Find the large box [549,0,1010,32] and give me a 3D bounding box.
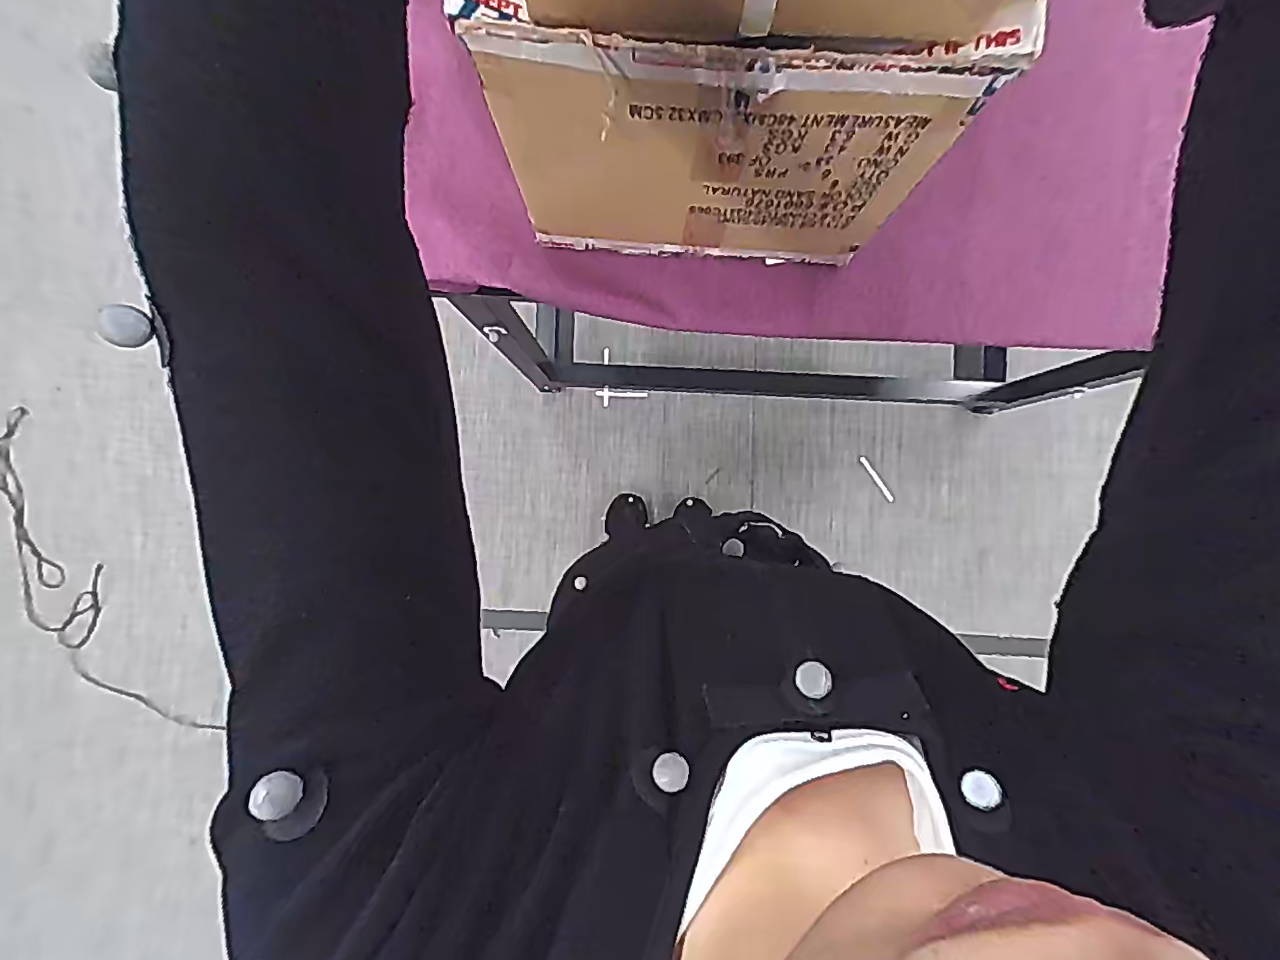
[{"bbox_3d":[0.092,-0.509,0.224,0.320,0.320,0.408,2,89,2],"label":"large box"}]
